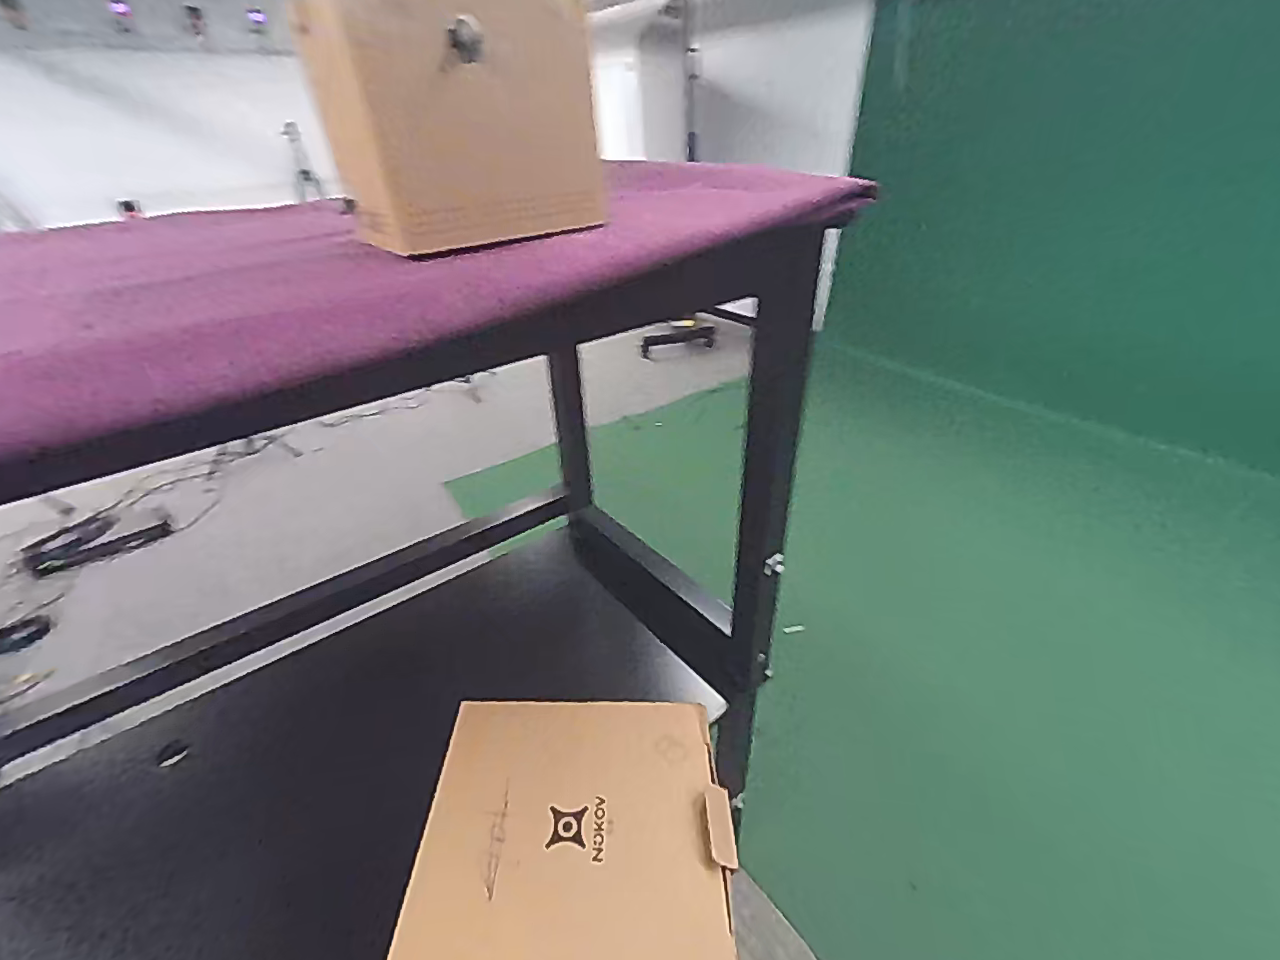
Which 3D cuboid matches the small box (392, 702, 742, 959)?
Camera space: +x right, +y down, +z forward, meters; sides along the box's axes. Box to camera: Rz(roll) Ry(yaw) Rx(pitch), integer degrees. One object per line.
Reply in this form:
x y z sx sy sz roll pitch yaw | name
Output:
-0.038 0.272 0.360 0.179 0.176 0.168 0 33 -1 | small box

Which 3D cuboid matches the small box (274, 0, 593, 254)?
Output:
-0.156 -0.288 0.436 0.179 0.176 0.168 -24 37 -28 | small box
